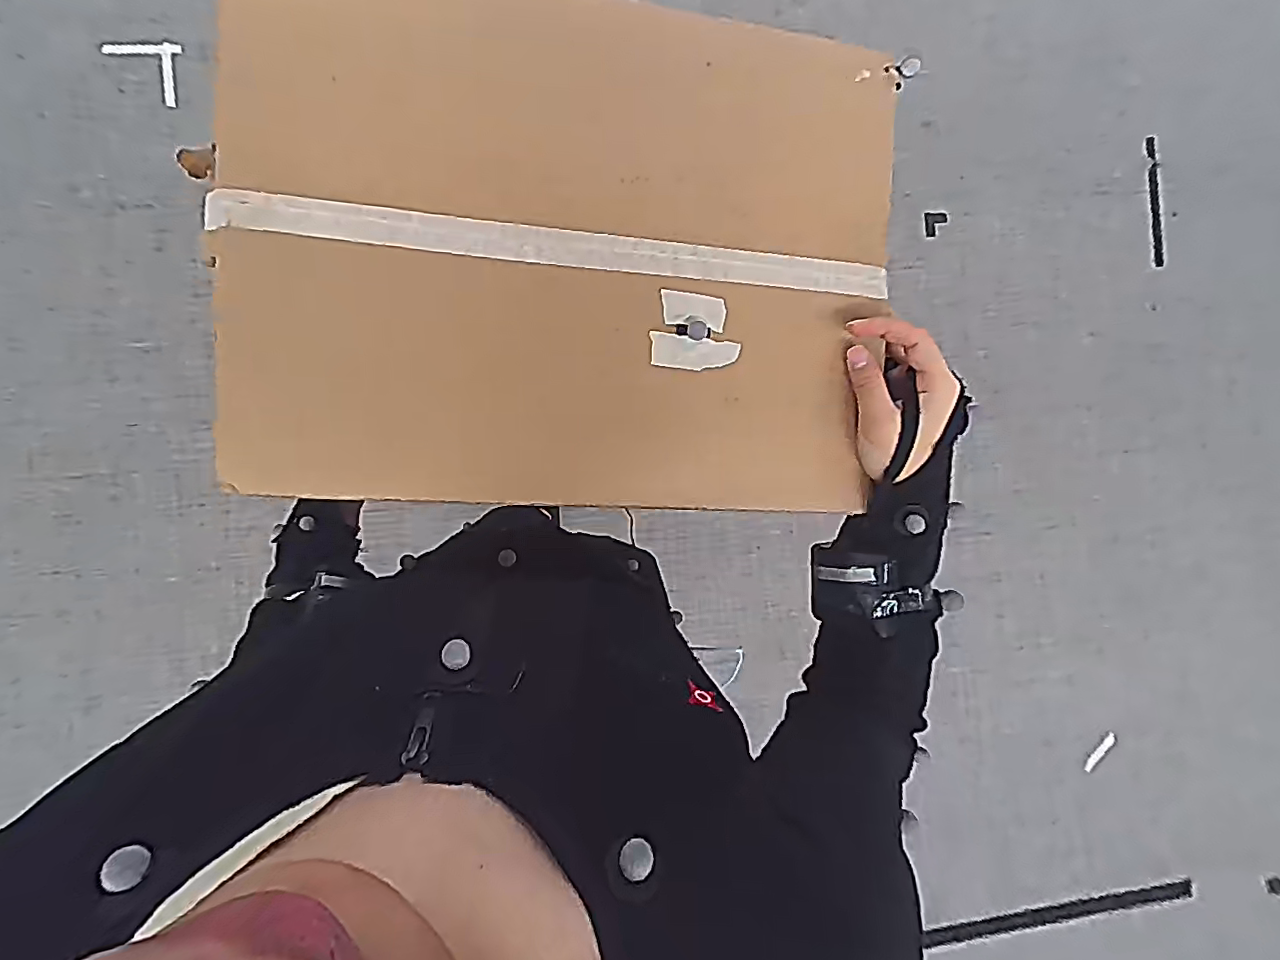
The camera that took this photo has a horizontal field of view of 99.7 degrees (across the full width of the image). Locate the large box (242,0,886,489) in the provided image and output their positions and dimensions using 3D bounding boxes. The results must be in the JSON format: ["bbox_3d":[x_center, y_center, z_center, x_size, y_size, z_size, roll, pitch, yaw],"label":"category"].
[{"bbox_3d":[-0.059,-0.157,0.486,0.408,0.320,0.320,2,93,-12],"label":"large box"}]
